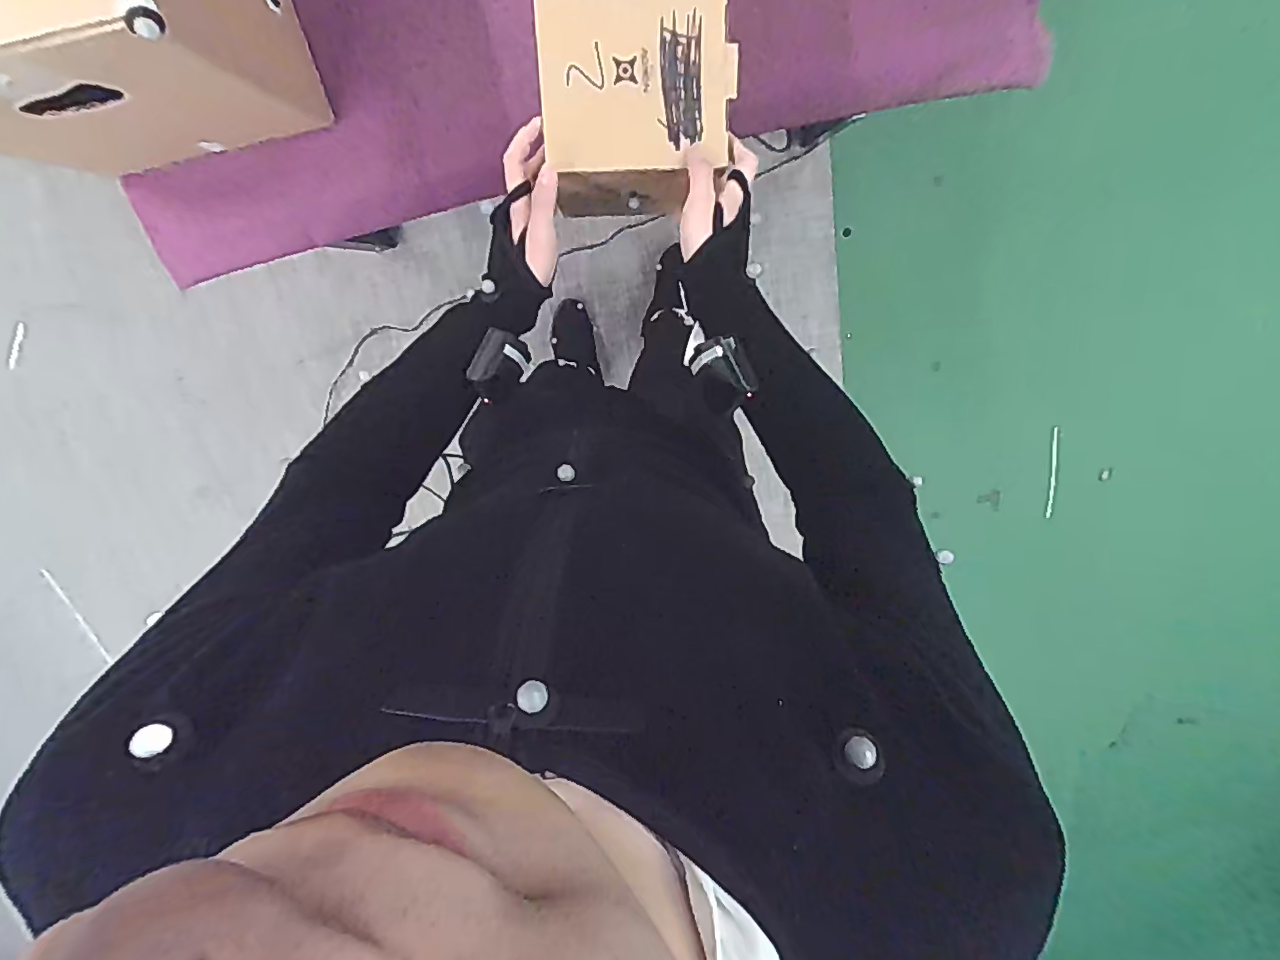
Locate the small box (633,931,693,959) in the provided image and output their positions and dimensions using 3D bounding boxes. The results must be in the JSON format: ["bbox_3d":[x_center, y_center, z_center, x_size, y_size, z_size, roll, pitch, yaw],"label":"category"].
[{"bbox_3d":[0.086,1.617,1.757,0.179,0.176,0.168,-18,112,4],"label":"small box"}]
